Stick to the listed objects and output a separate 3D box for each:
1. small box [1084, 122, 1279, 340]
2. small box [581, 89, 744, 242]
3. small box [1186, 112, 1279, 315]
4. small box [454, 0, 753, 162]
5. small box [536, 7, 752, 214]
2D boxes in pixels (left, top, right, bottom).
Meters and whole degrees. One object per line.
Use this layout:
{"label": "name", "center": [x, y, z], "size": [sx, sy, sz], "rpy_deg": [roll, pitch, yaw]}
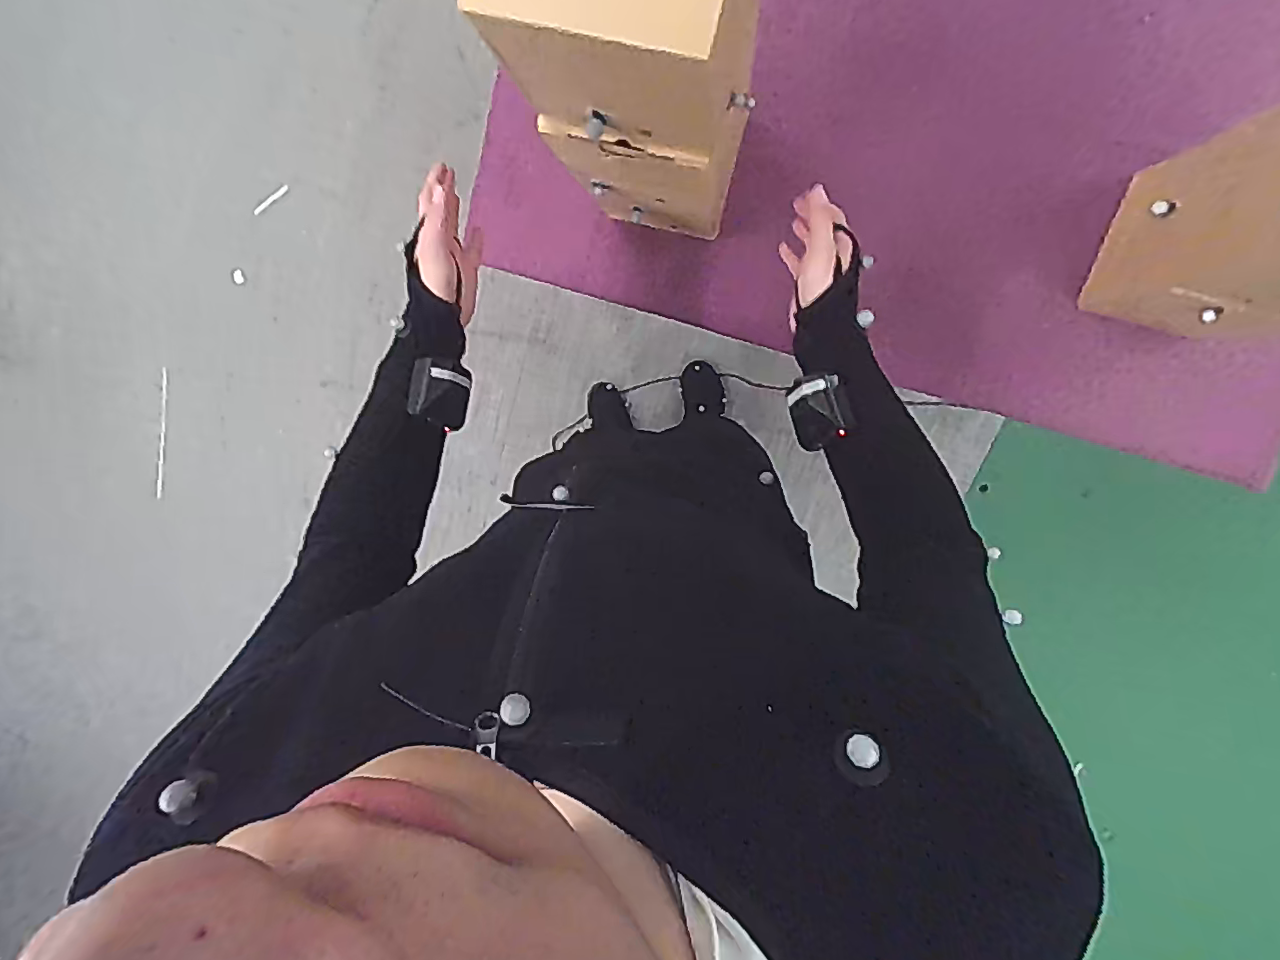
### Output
{"label": "small box", "center": [0.685, -0.275, 0.638], "size": [0.168, 0.176, 0.179], "rpy_deg": [17, 103, 6]}
{"label": "small box", "center": [0.037, -0.429, 0.707], "size": [0.168, 0.176, 0.179], "rpy_deg": [15, 104, 6]}
{"label": "small box", "center": [0.660, -0.243, 0.478], "size": [0.168, 0.176, 0.179], "rpy_deg": [18, 103, 4]}
{"label": "small box", "center": [-0.007, -0.367, 0.388], "size": [0.168, 0.176, 0.179], "rpy_deg": [16, 104, 5]}
{"label": "small box", "center": [0.013, -0.393, 0.548], "size": [0.168, 0.176, 0.179], "rpy_deg": [16, 103, 5]}
